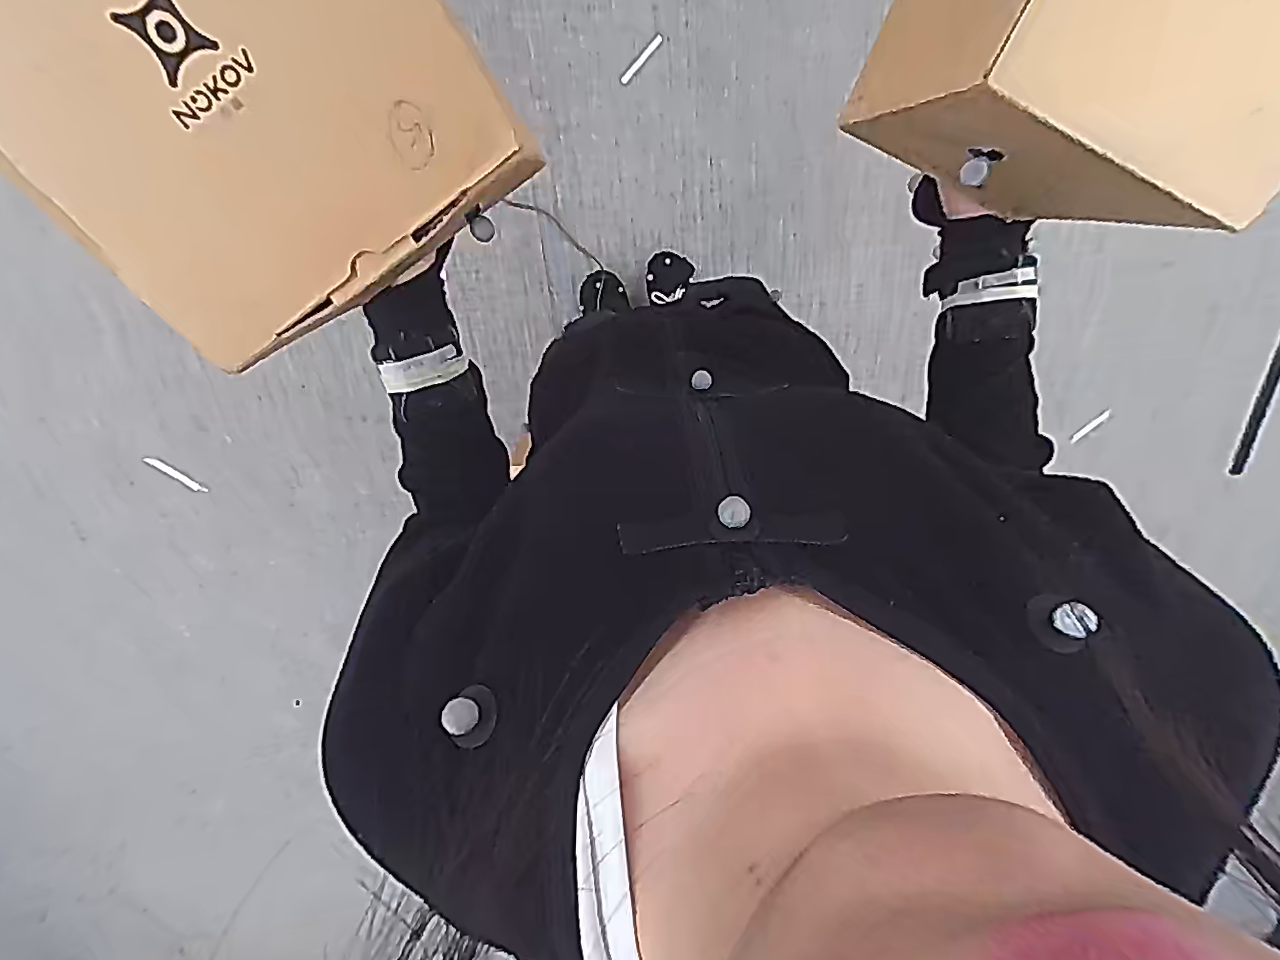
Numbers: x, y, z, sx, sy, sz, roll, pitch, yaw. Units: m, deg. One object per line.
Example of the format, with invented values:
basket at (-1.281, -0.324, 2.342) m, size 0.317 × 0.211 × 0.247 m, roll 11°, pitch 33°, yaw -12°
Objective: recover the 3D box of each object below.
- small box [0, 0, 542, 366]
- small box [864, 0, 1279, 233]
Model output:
small box at (-0.160, -0.188, 0.254) m, size 0.168 × 0.176 × 0.179 m, roll -32°, pitch 117°, yaw 9°
small box at (0.251, -0.256, 0.290) m, size 0.168 × 0.176 × 0.179 m, roll 18°, pitch 114°, yaw -13°
